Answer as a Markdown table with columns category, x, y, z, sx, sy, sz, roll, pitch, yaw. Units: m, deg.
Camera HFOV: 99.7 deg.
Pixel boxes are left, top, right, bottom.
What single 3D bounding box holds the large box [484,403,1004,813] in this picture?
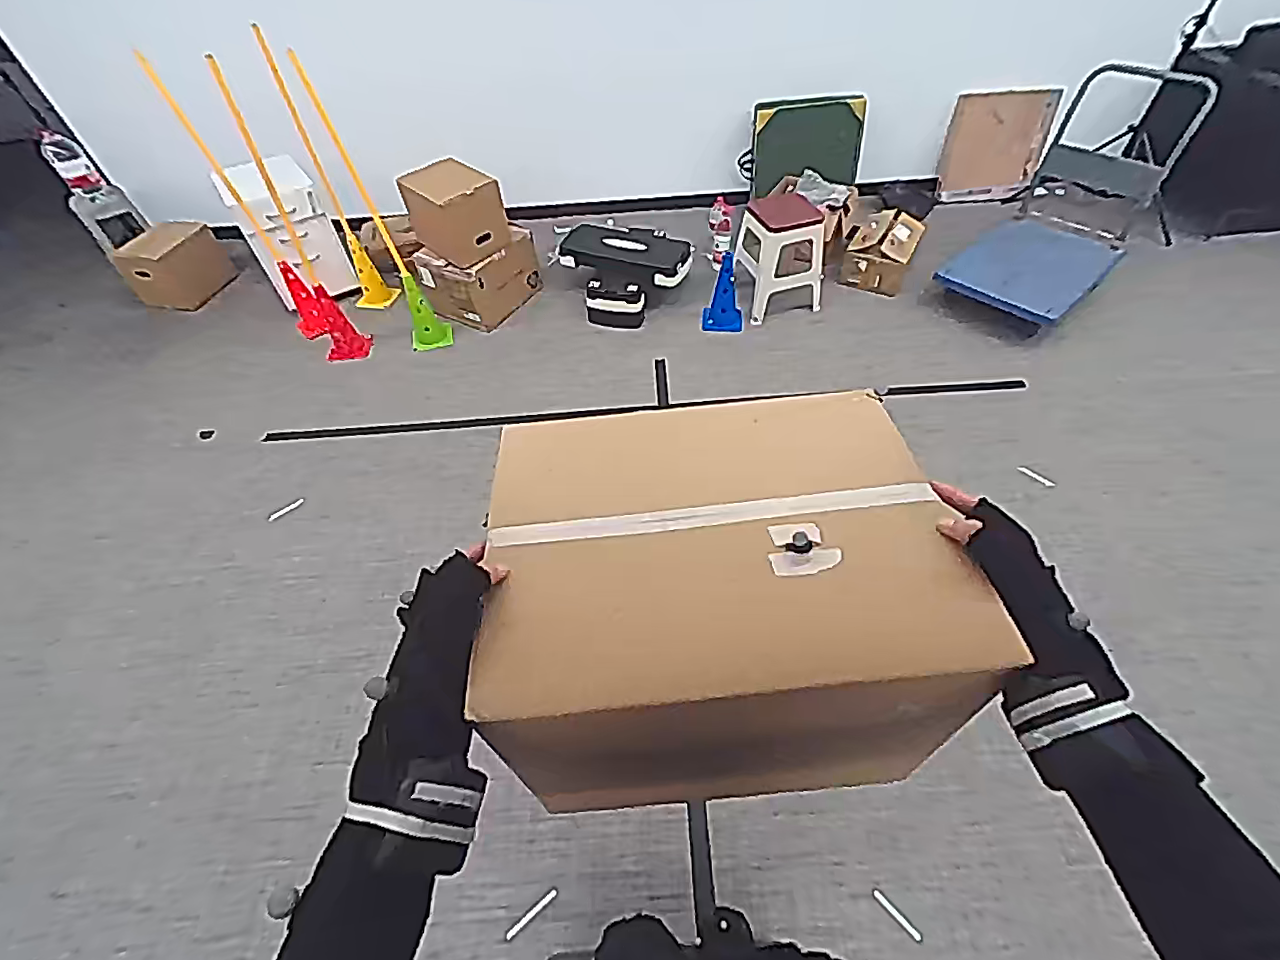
| category | x | y | z | sx | sy | sz | roll | pitch | yaw |
| --- | --- | --- | --- | --- | --- | --- | --- | --- | --- |
| large box | 0.074 | 0.146 | 0.610 | 0.408 | 0.320 | 0.320 | -6 | 48 | 0 |

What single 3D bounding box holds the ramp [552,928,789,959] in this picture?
| category | x | y | z | sx | sy | sz | roll | pitch | yaw |
| --- | --- | --- | --- | --- | --- | --- | --- | --- | --- |
| ramp | 0.093 | 1.384 | 0.886 | 0.509 | 0.206 | 0.991 | -5 | 51 | -2 |
